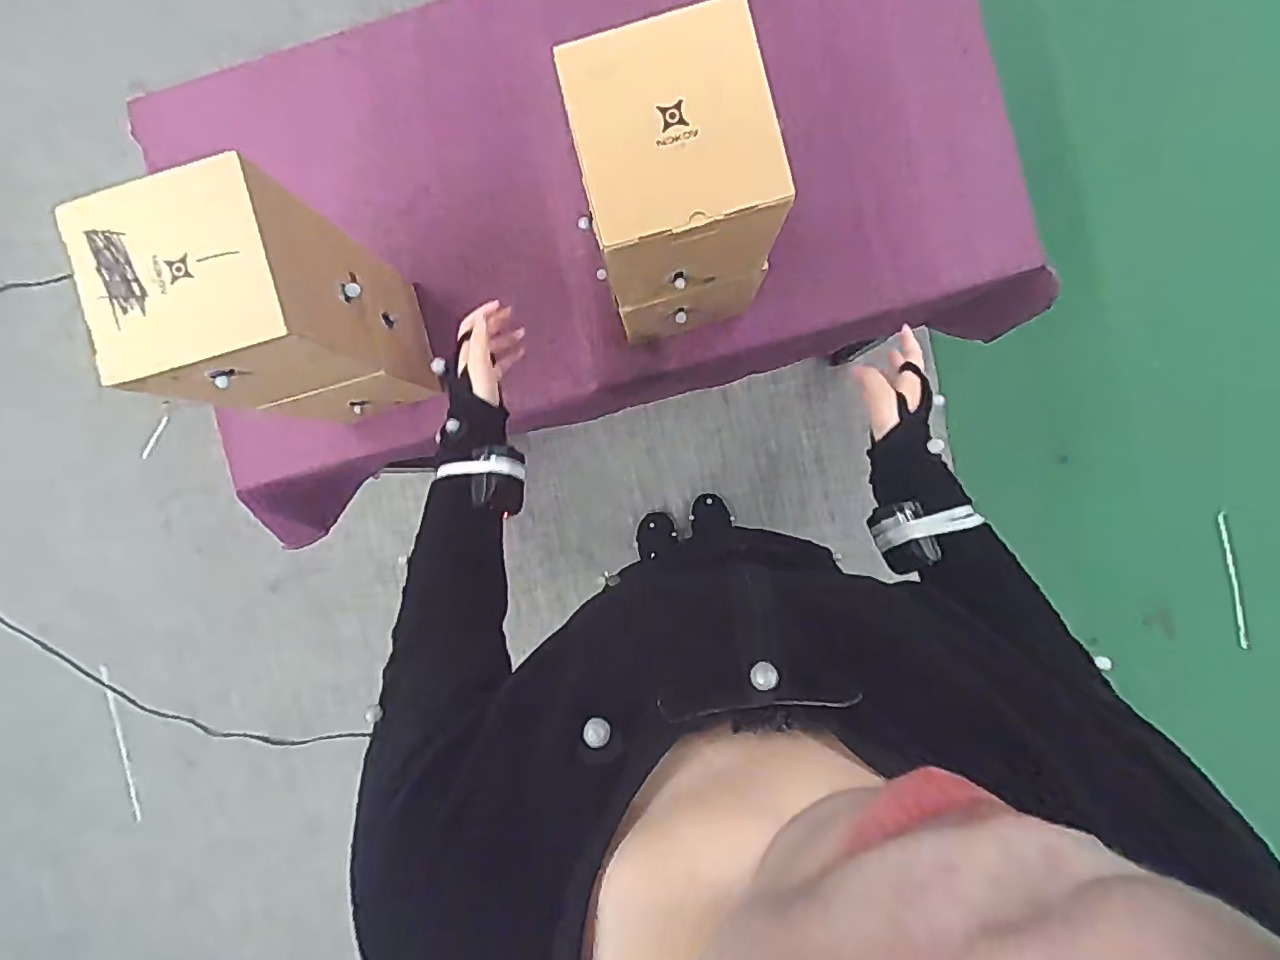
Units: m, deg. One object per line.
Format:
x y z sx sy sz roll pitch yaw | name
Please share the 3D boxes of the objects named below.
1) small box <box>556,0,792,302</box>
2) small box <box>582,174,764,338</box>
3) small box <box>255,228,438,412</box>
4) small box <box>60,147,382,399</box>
0.029 -0.299 0.524 0.168 0.176 0.179 -14 91 3 | small box
0.042 -0.296 0.687 0.179 0.176 0.168 -15 90 4 | small box
-0.391 -0.192 0.712 0.168 0.176 0.179 -15 90 3 | small box
-0.401 -0.188 0.548 0.179 0.176 0.168 -15 91 3 | small box
